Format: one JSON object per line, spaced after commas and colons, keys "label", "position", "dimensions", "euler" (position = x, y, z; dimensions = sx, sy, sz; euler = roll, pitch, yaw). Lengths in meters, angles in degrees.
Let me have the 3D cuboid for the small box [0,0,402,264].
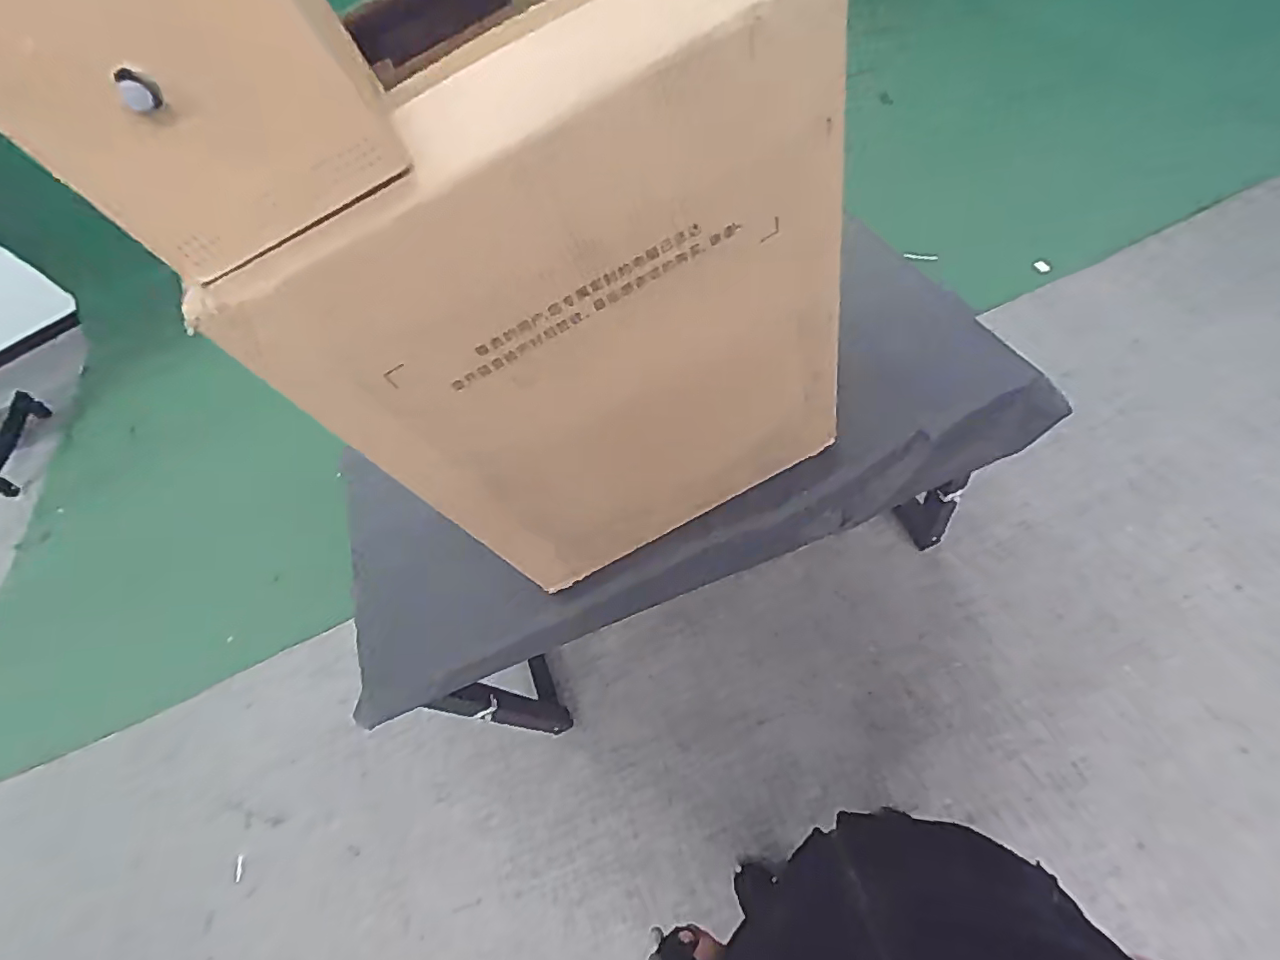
{"label": "small box", "position": [-0.290, -0.280, 0.350], "dimensions": [0.179, 0.176, 0.168], "euler": [-29, 59, 3]}
